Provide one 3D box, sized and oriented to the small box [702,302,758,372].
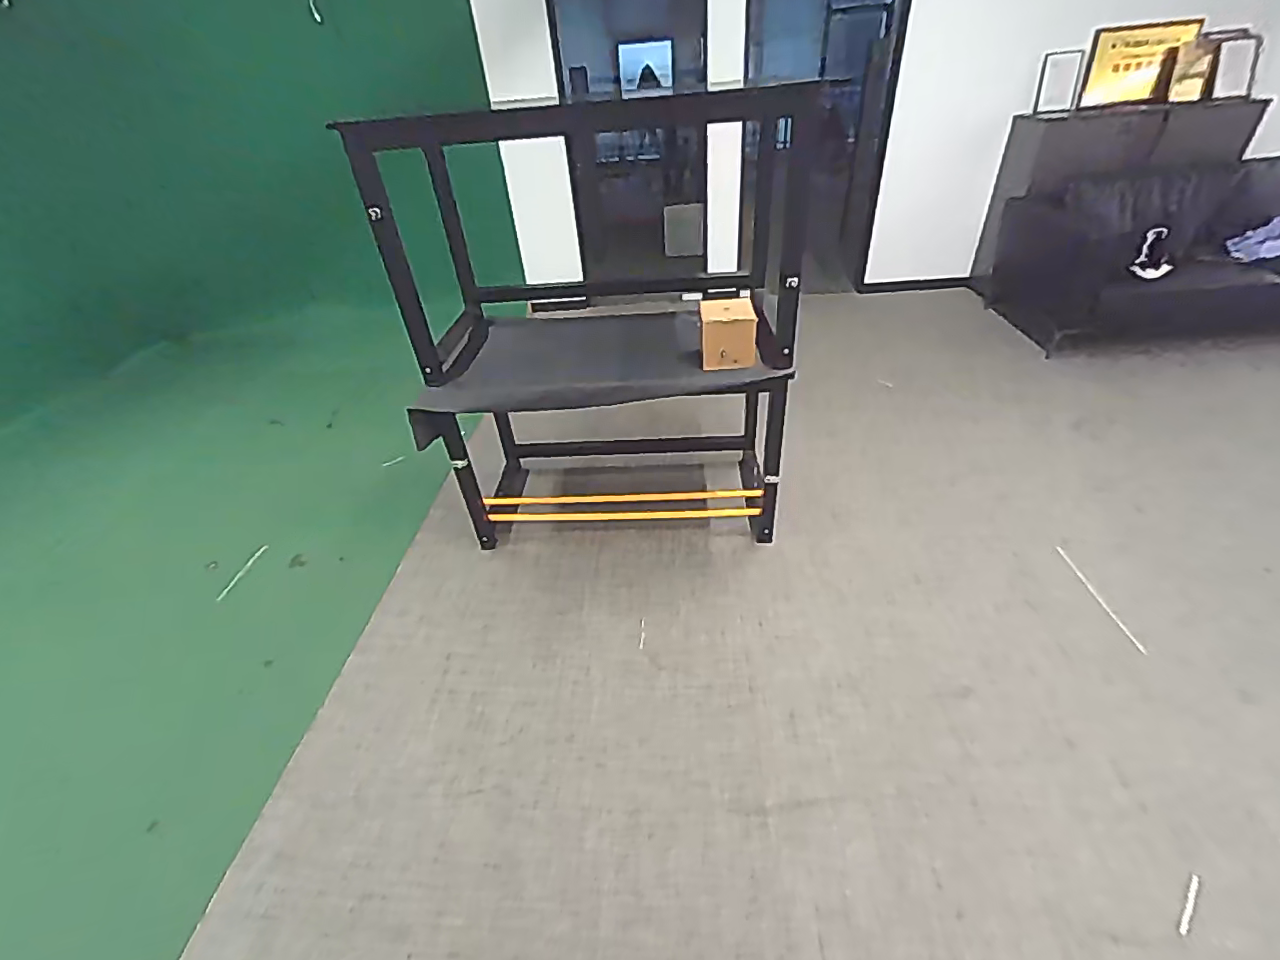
[{"bbox_3d":[0.285,-0.465,1.755,0.168,0.176,0.179,-3,37,5],"label":"small box"}]
